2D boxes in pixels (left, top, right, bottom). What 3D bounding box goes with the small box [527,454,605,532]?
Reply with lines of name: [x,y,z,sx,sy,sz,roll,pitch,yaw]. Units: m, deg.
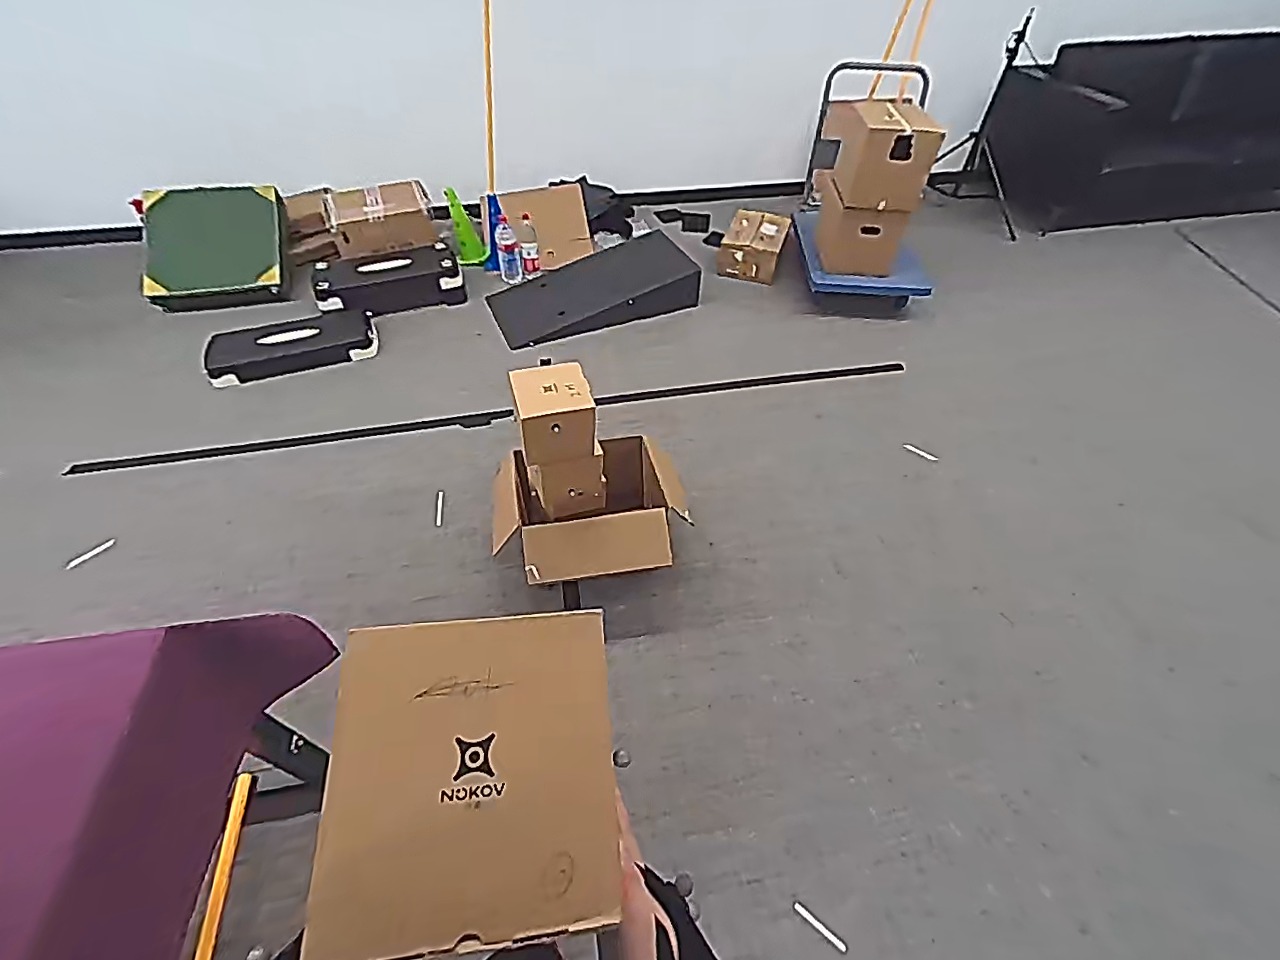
small box: [-0.216,0.026,1.597,0.179,0.176,0.168,-23,57,-23]

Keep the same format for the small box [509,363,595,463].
small box: [-0.212,-0.161,1.324,0.179,0.176,0.168,-11,54,-15]

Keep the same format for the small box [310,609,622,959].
small box: [-0.103,0.205,0.392,0.168,0.176,0.179,-2,61,-8]
